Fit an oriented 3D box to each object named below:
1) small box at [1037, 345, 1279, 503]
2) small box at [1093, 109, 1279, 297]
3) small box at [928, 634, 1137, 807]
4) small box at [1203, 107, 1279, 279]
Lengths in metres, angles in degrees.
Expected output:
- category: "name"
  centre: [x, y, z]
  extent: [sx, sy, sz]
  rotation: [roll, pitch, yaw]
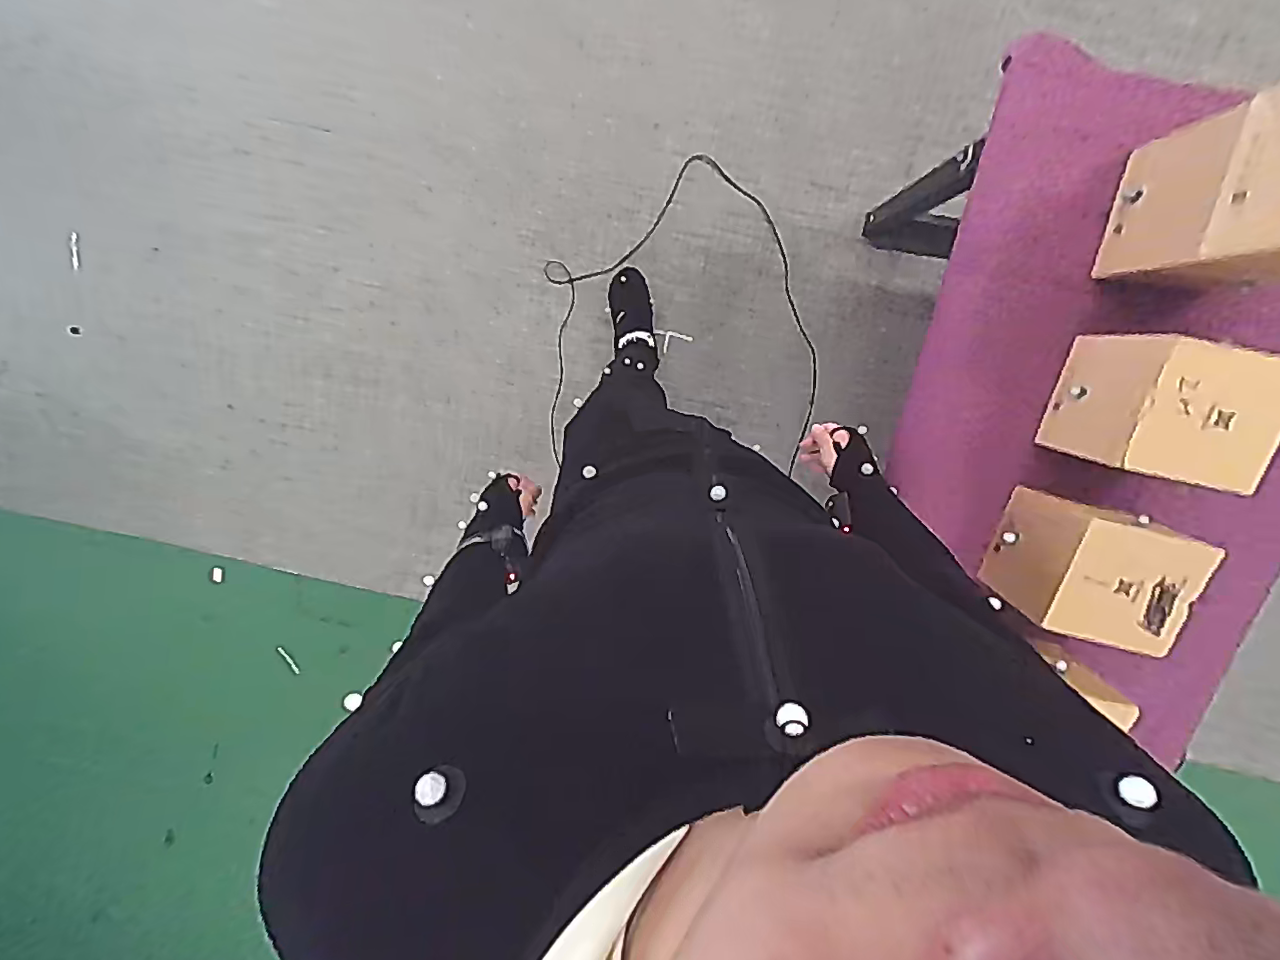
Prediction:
- category: "small box"
  centre: [0.701, -0.085, 0.732]
  extent: [0.179, 0.176, 0.168]
  rotation: [13, 104, 1]
- category: "small box"
  centre: [0.731, -0.326, 0.670]
  extent: [0.179, 0.176, 0.168]
  rotation: [8, 104, 2]
- category: "small box"
  centre: [0.600, 0.368, 0.854]
  extent: [0.179, 0.176, 0.168]
  rotation: [14, 104, 0]
- category: "small box"
  centre: [0.717, -0.287, 0.514]
  extent: [0.179, 0.176, 0.168]
  rotation: [7, 104, 1]
